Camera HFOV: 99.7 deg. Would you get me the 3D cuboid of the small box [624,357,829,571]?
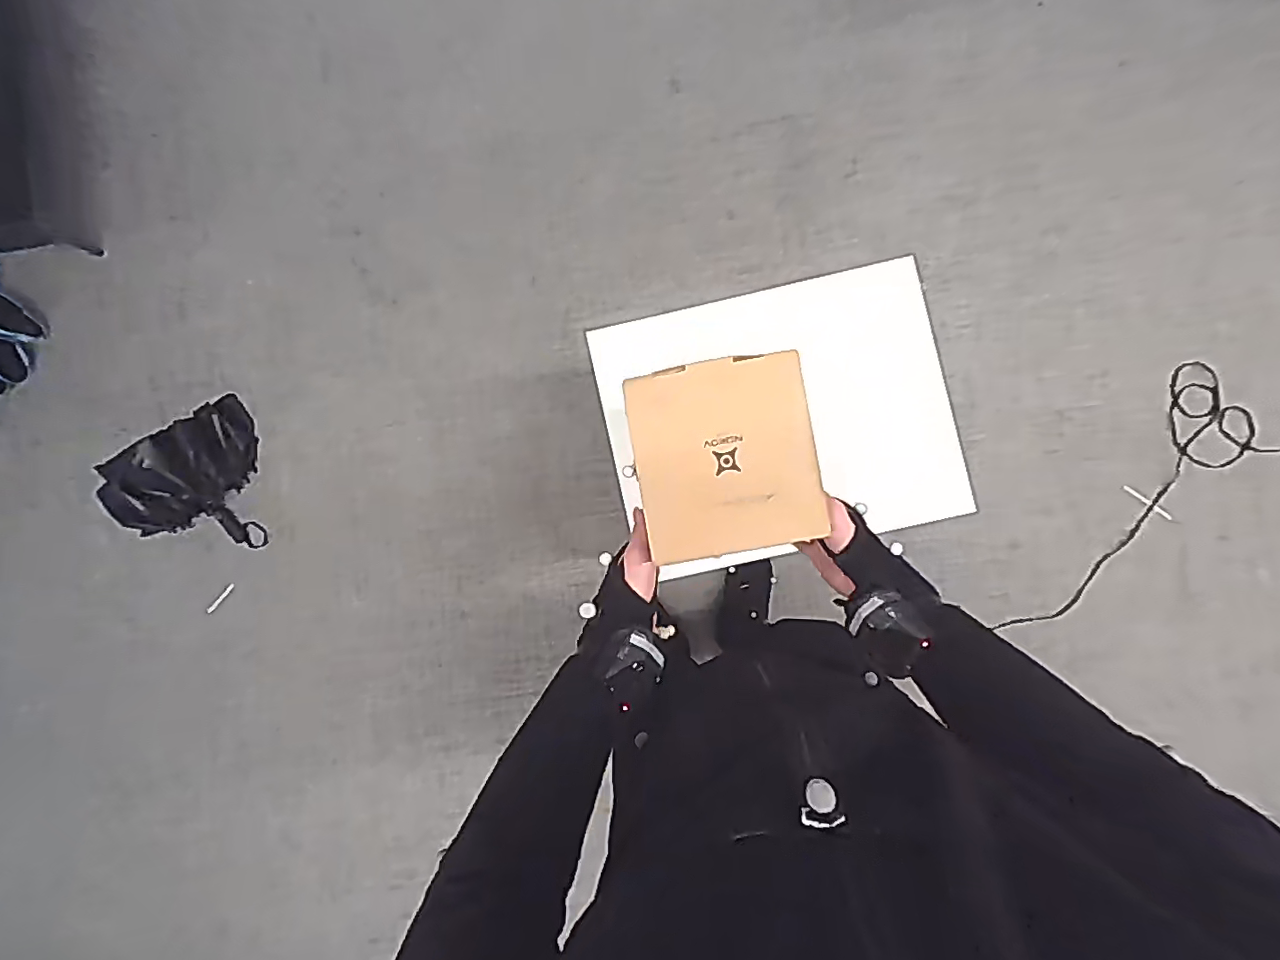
[{"bbox_3d":[0.080,-0.013,0.571,0.168,0.176,0.179,-10,89,3],"label":"small box"}]
